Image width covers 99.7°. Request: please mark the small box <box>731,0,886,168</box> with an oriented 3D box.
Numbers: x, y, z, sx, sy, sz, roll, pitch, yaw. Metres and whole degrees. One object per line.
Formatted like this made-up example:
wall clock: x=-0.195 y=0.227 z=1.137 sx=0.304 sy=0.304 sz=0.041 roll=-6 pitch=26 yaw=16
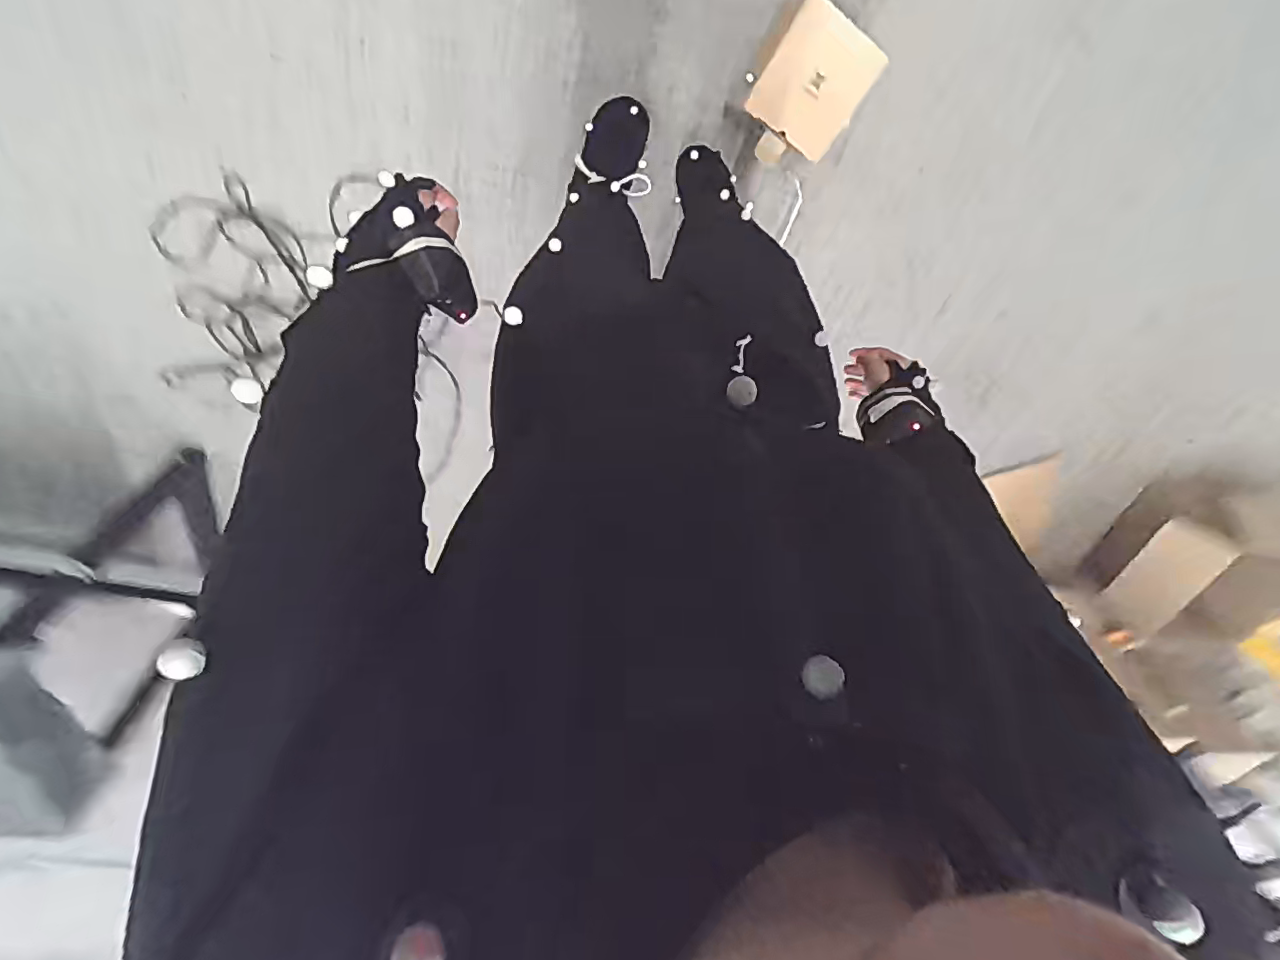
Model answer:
small box: x=0.278 y=-0.688 z=0.939 sx=0.168 sy=0.176 sz=0.179 roll=24 pitch=124 yaw=-21
